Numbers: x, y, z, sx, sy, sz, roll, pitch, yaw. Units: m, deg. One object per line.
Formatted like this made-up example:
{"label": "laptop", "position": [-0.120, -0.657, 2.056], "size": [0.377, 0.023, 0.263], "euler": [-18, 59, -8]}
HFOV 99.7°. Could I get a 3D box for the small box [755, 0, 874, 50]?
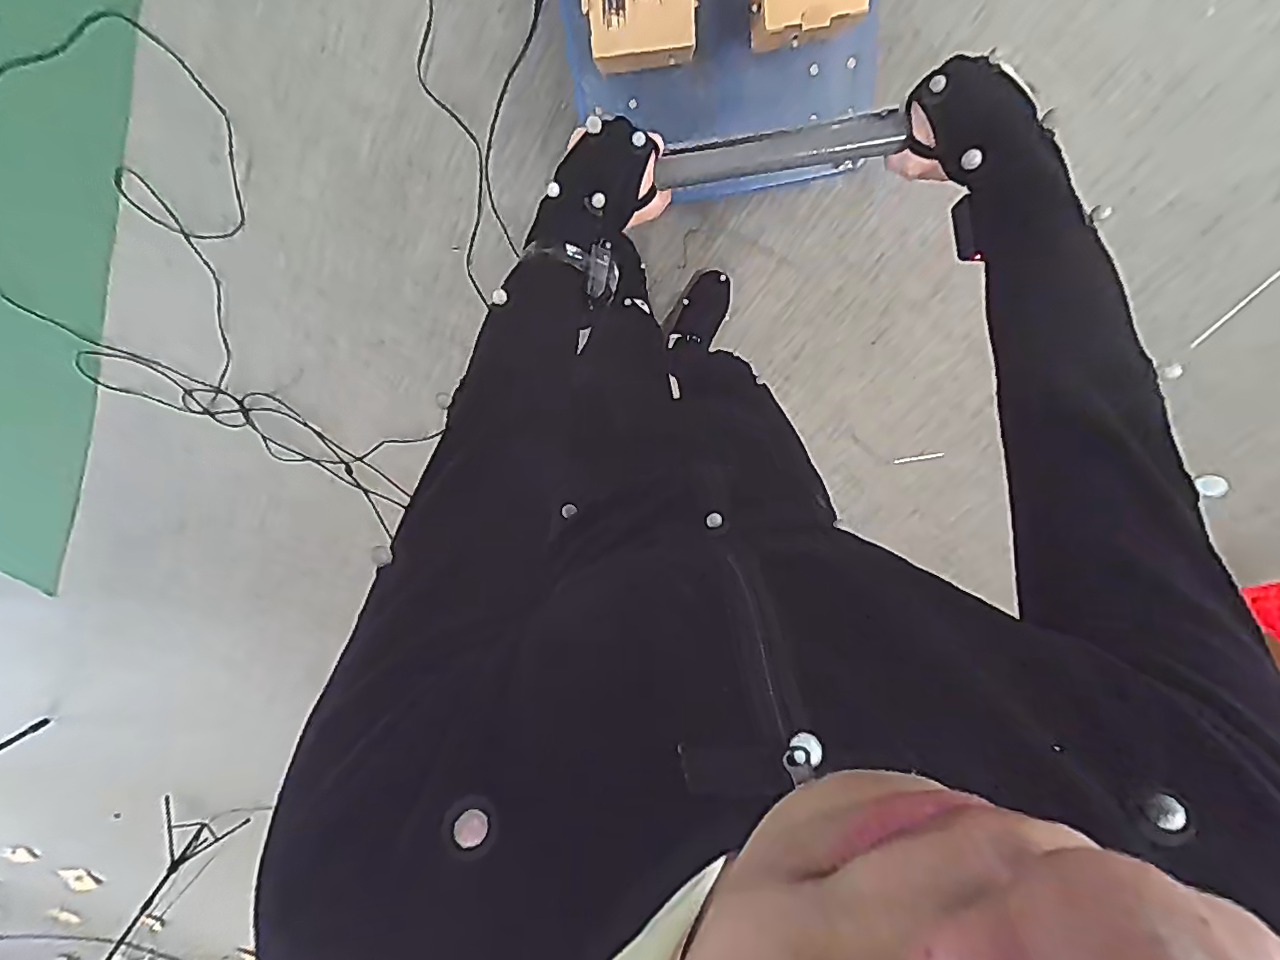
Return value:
{"label": "small box", "position": [0.282, -0.851, 0.897], "size": [0.168, 0.176, 0.179], "euler": [-6, 120, 7]}
